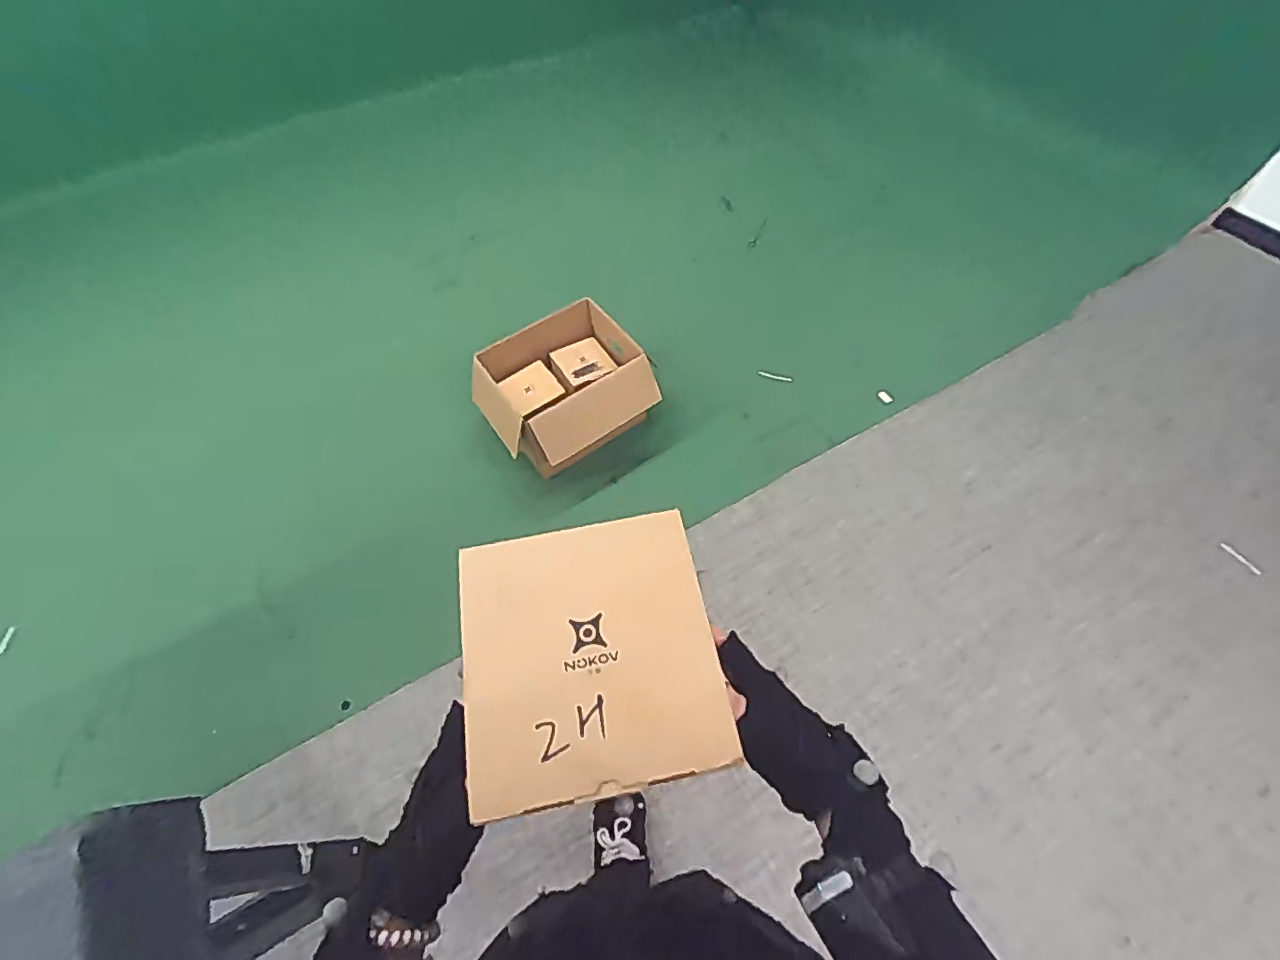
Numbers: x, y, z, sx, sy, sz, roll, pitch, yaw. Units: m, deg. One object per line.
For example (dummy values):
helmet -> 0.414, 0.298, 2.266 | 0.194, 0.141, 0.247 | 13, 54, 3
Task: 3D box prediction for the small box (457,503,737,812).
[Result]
small box -> -0.035, 0.143, 0.427 | 0.168, 0.176, 0.179 | -11, 62, -4
